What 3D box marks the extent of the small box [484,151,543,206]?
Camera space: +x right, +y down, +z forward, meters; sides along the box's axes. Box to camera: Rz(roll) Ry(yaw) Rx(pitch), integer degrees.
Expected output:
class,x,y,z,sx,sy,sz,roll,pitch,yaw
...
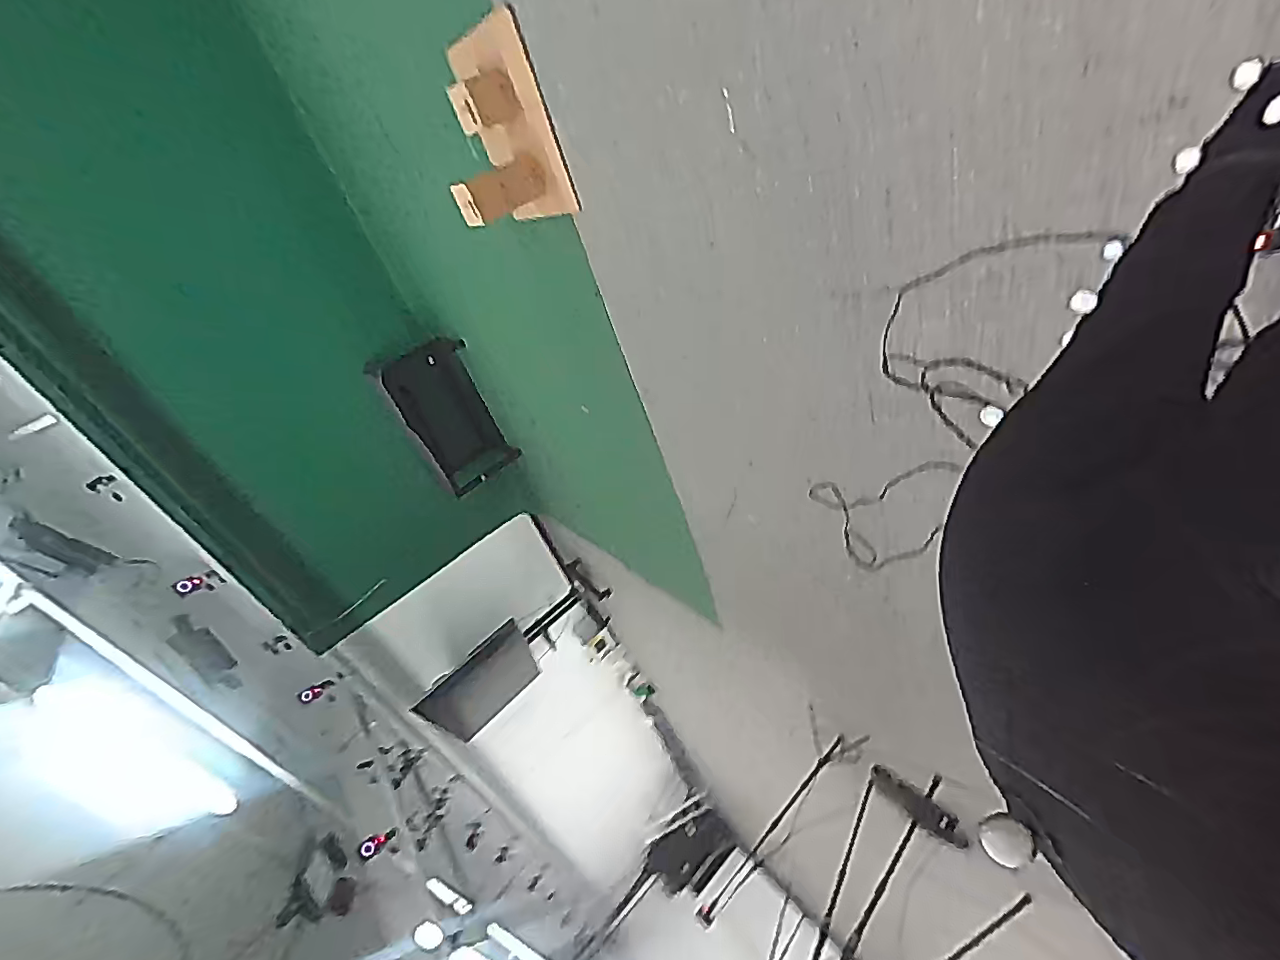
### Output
class,x,y,z,sx,sy,sz,roll,pitch,yaw
small box,-0.551,-1.301,2.348,0.179,0.176,0.168,24,146,48

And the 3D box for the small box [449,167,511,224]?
class,x,y,z,sx,sy,sz,roll,pitch,yaw
small box,-0.670,-1.205,2.287,0.179,0.176,0.168,26,147,47
